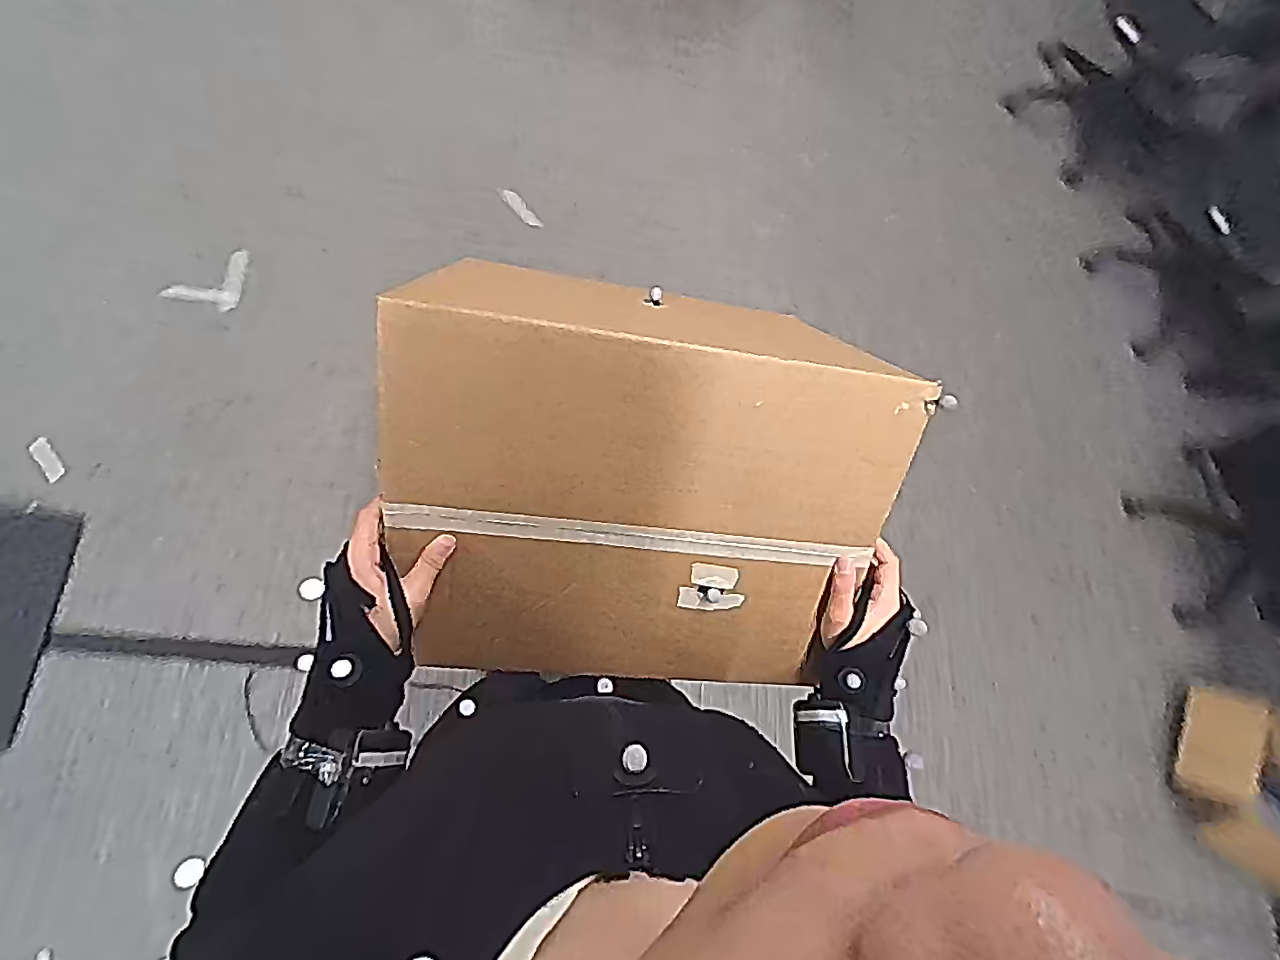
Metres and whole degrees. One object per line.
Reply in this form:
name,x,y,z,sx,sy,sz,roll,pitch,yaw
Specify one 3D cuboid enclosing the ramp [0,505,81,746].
ramp,-1.734,0.234,0.991,0.991,0.206,0.509,5,74,-11
